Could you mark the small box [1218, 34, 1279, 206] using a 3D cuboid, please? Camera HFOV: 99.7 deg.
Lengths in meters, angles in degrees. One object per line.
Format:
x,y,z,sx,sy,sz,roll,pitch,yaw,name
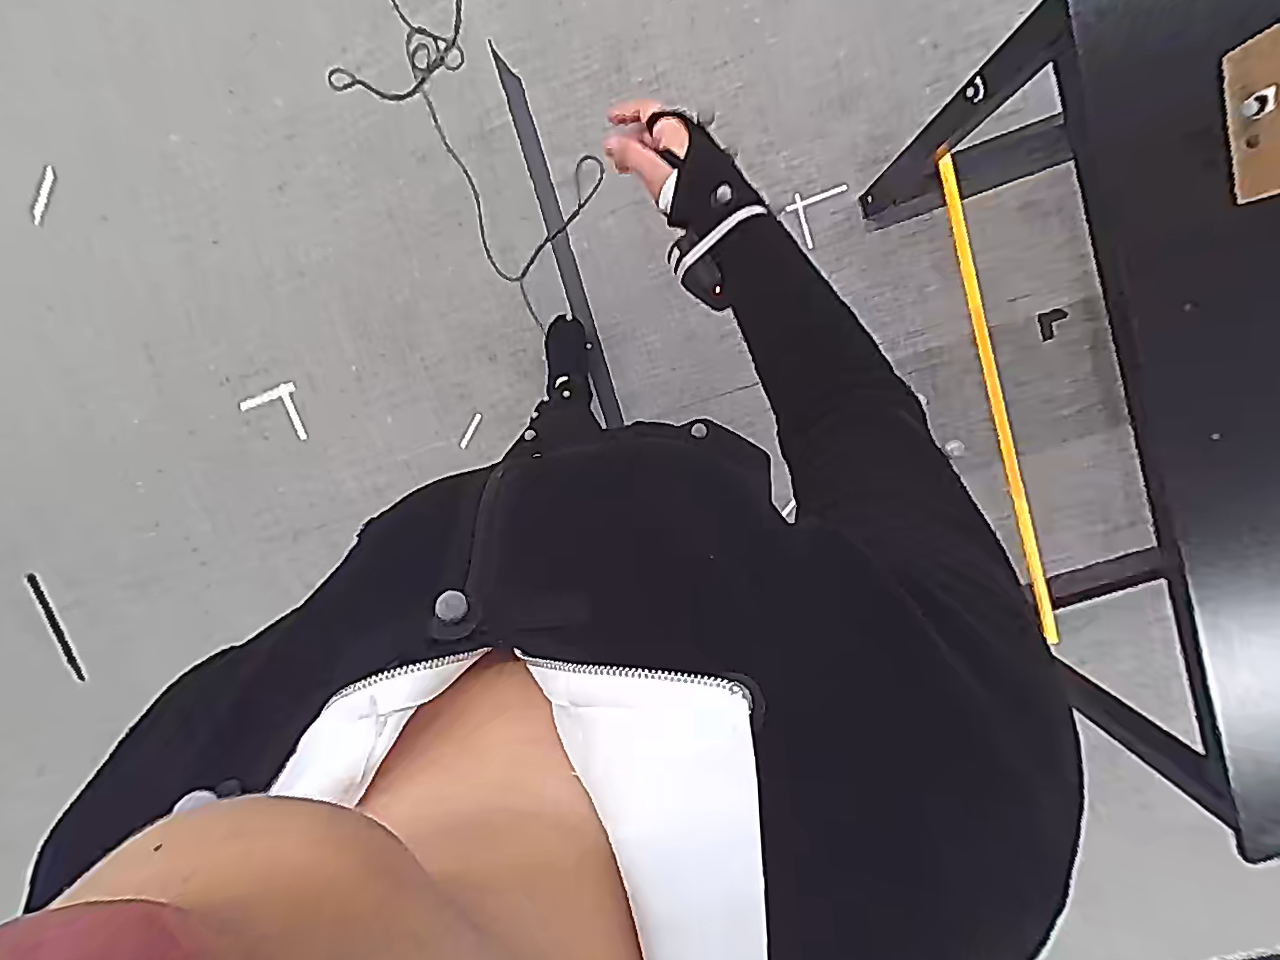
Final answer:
0.762,-0.408,0.545,0.179,0.176,0.168,-15,96,6,small box
